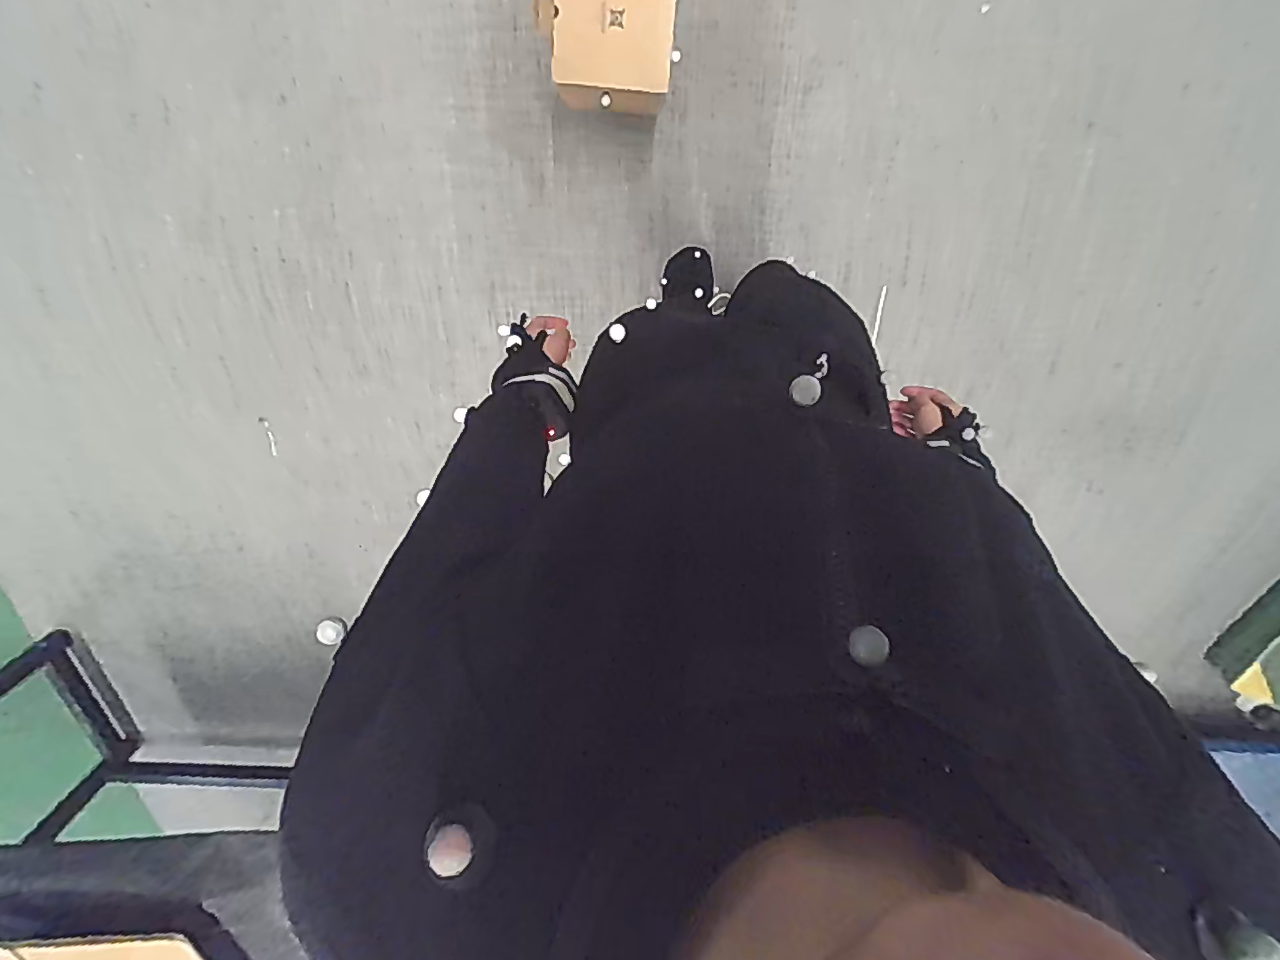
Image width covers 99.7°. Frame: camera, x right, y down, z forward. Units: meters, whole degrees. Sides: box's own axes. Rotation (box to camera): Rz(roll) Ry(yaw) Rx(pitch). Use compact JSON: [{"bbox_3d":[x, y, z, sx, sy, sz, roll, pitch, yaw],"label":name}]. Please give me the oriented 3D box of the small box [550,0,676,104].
[{"bbox_3d":[-0.039,-0.690,0.826,0.179,0.176,0.168,5,118,-1],"label":"small box"}]
